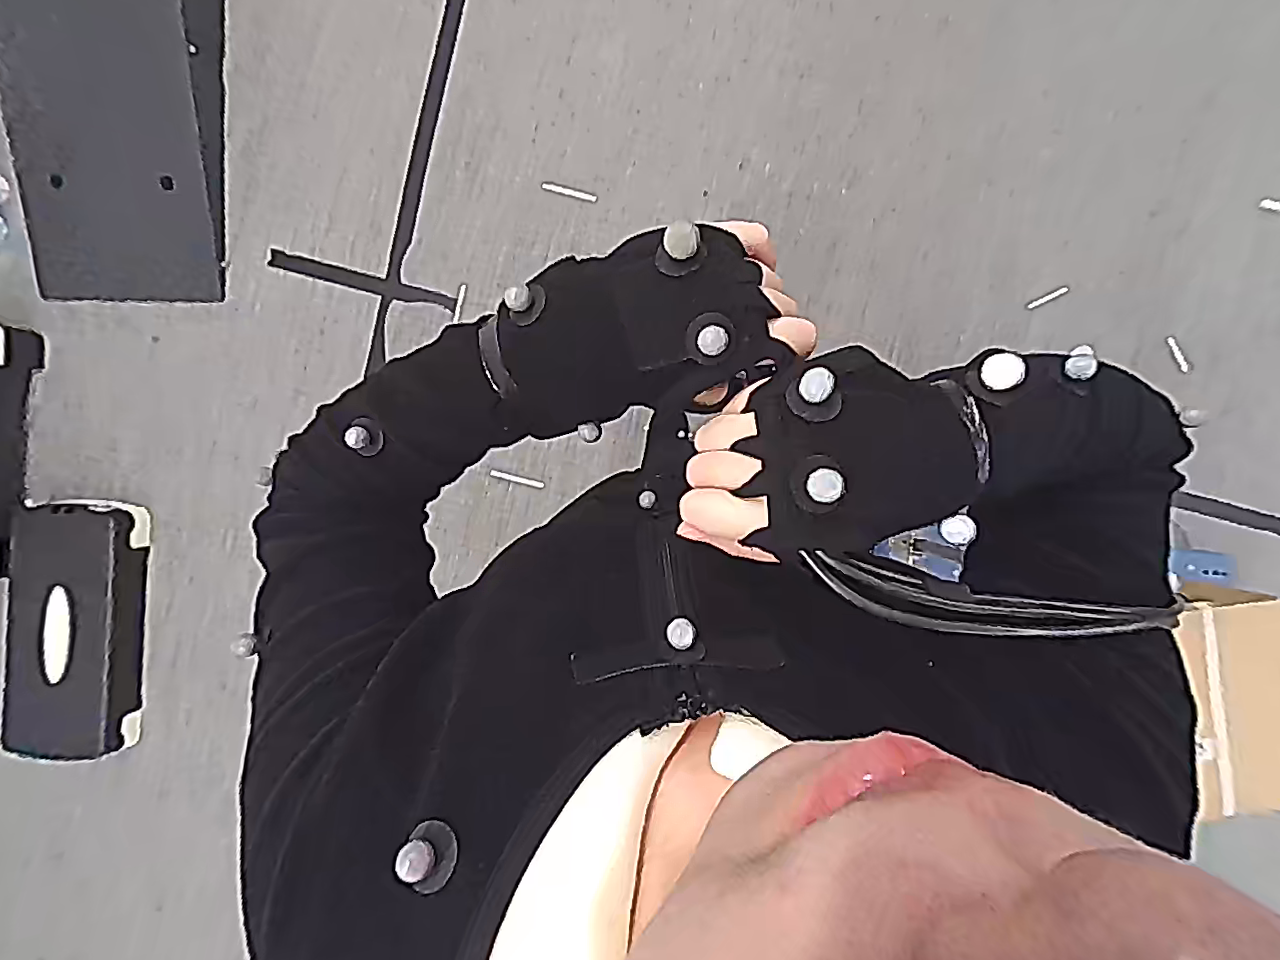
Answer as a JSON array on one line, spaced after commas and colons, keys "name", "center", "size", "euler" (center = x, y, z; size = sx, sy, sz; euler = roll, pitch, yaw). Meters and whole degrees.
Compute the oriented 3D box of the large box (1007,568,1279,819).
[{"name": "large box", "center": [1.073, 0.433, 1.183], "size": [0.320, 0.320, 0.408], "euler": [-6, 91, 0]}]
